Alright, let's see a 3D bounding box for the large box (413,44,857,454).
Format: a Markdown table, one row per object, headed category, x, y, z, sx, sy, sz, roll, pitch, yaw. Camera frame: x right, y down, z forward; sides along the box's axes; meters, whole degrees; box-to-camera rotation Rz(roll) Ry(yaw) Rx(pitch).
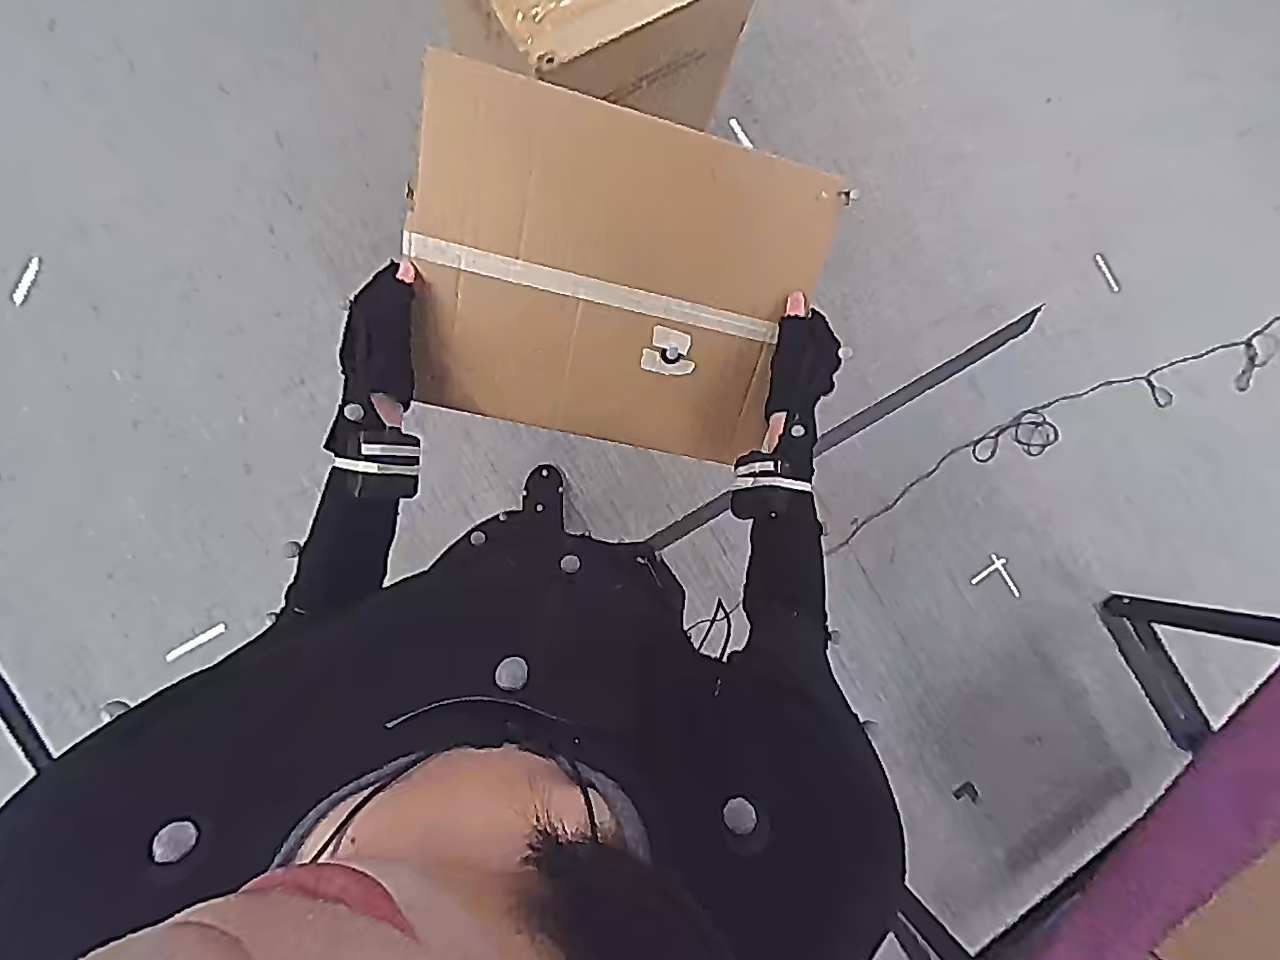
| category | x | y | z | sx | sy | sz | roll | pitch | yaw |
| --- | --- | --- | --- | --- | --- | --- | --- | --- | --- |
| large box | -0.030 | -0.257 | 0.677 | 0.408 | 0.320 | 0.320 | 10 | 113 | -11 |
